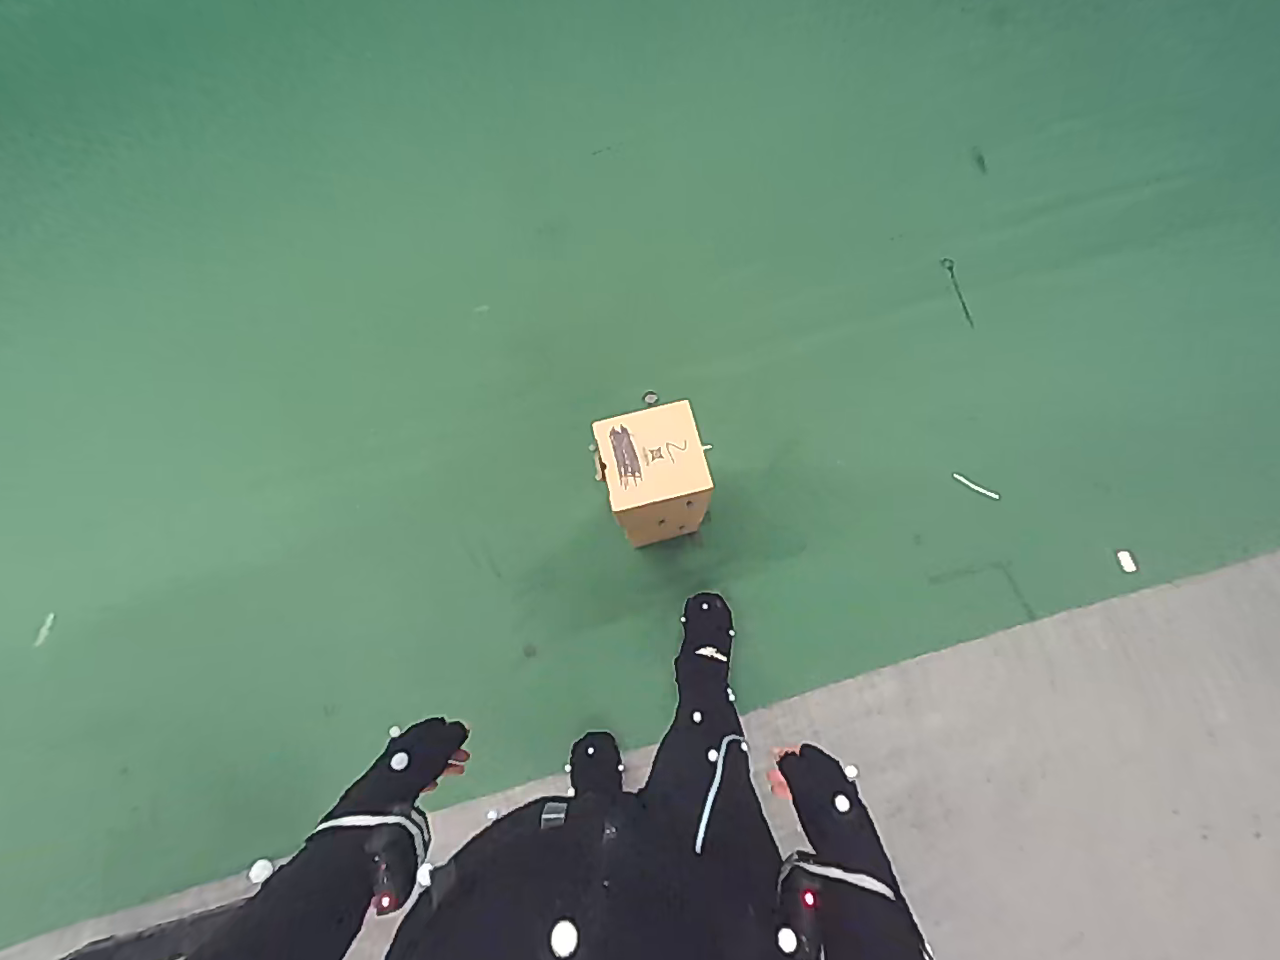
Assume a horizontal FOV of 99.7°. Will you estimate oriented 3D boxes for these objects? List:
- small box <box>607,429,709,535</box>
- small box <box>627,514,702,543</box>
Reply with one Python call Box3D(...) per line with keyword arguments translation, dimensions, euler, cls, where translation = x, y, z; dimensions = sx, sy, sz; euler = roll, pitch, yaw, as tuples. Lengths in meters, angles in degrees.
Box3D(translation=(0.036, 0.010, 1.151), dimensions=(0.179, 0.176, 0.168), euler=(-14, 75, -1), cls="small box")
Box3D(translation=(0.040, 0.047, 1.310), dimensions=(0.179, 0.176, 0.168), euler=(-14, 74, -2), cls="small box")
